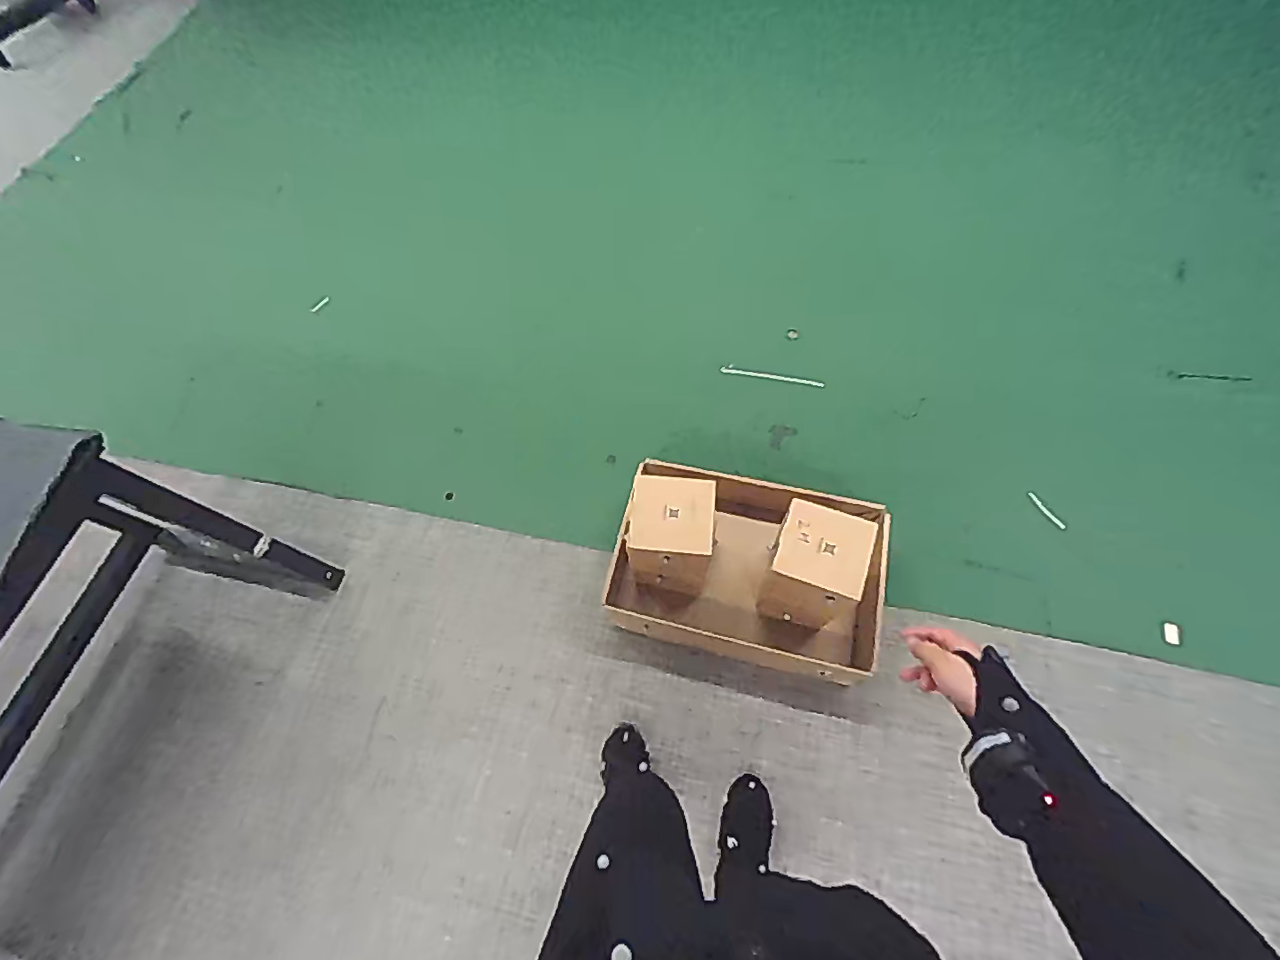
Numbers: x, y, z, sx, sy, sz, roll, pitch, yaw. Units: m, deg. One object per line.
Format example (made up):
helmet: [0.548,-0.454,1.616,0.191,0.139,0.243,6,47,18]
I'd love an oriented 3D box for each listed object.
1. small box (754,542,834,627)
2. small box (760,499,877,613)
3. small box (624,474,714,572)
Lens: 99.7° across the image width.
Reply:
small box: [0.379,0.230,1.285,0.168,0.176,0.179,18,70,13]
small box: [0.367,0.167,1.134,0.179,0.176,0.168,19,68,13]
small box: [0.065,0.099,1.183,0.179,0.176,0.168,5,67,4]
